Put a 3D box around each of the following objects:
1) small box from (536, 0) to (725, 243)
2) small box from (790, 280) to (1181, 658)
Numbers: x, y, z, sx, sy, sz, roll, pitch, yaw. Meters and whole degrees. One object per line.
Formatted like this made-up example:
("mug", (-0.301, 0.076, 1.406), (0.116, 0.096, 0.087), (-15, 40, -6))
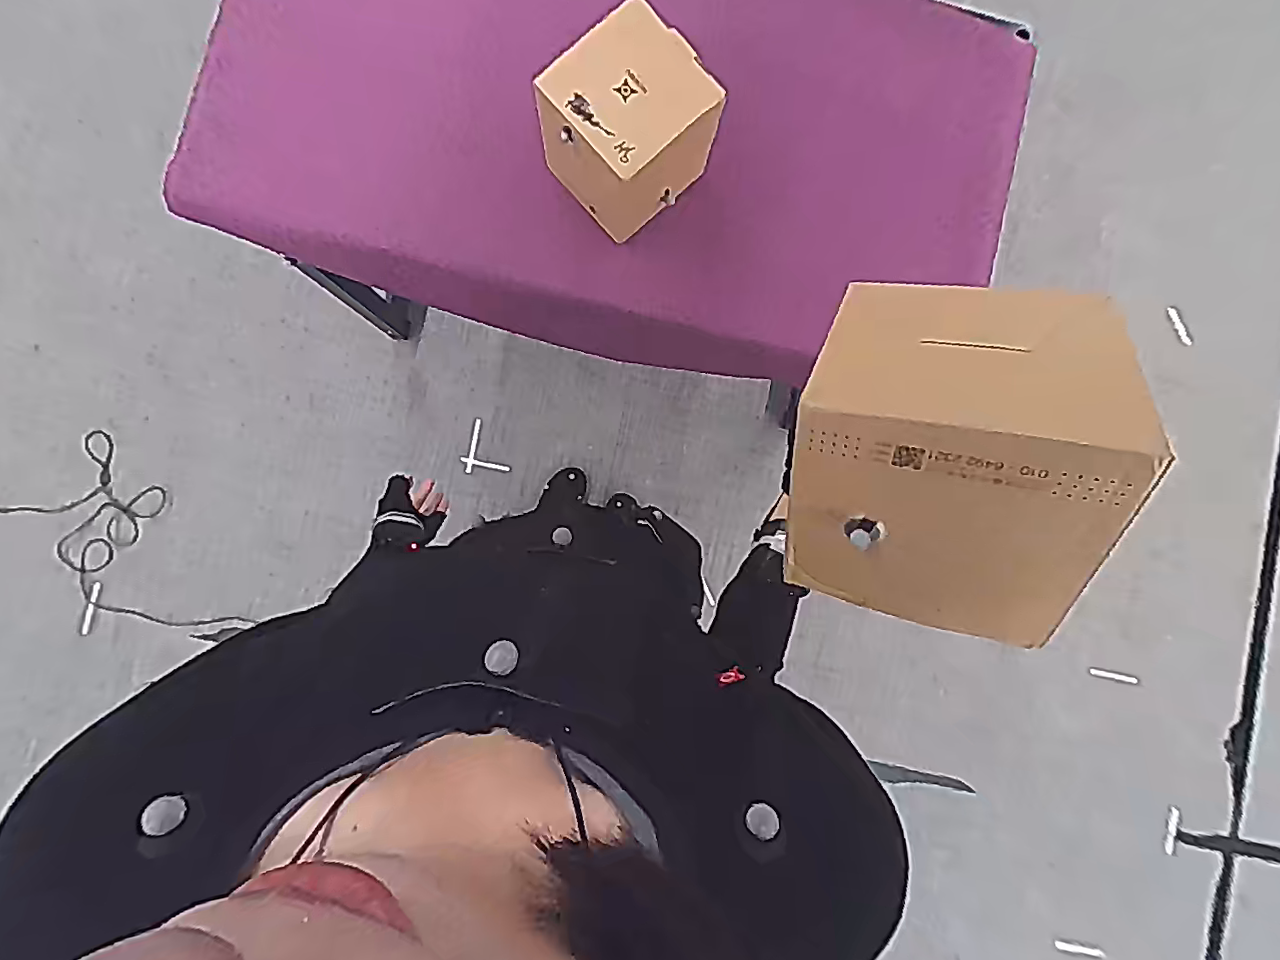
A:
("small box", (-0.018, -0.466, 0.730), (0.179, 0.176, 0.168), (-43, 91, -6))
("small box", (0.207, -0.020, 0.366), (0.168, 0.176, 0.179), (14, 45, 22))
